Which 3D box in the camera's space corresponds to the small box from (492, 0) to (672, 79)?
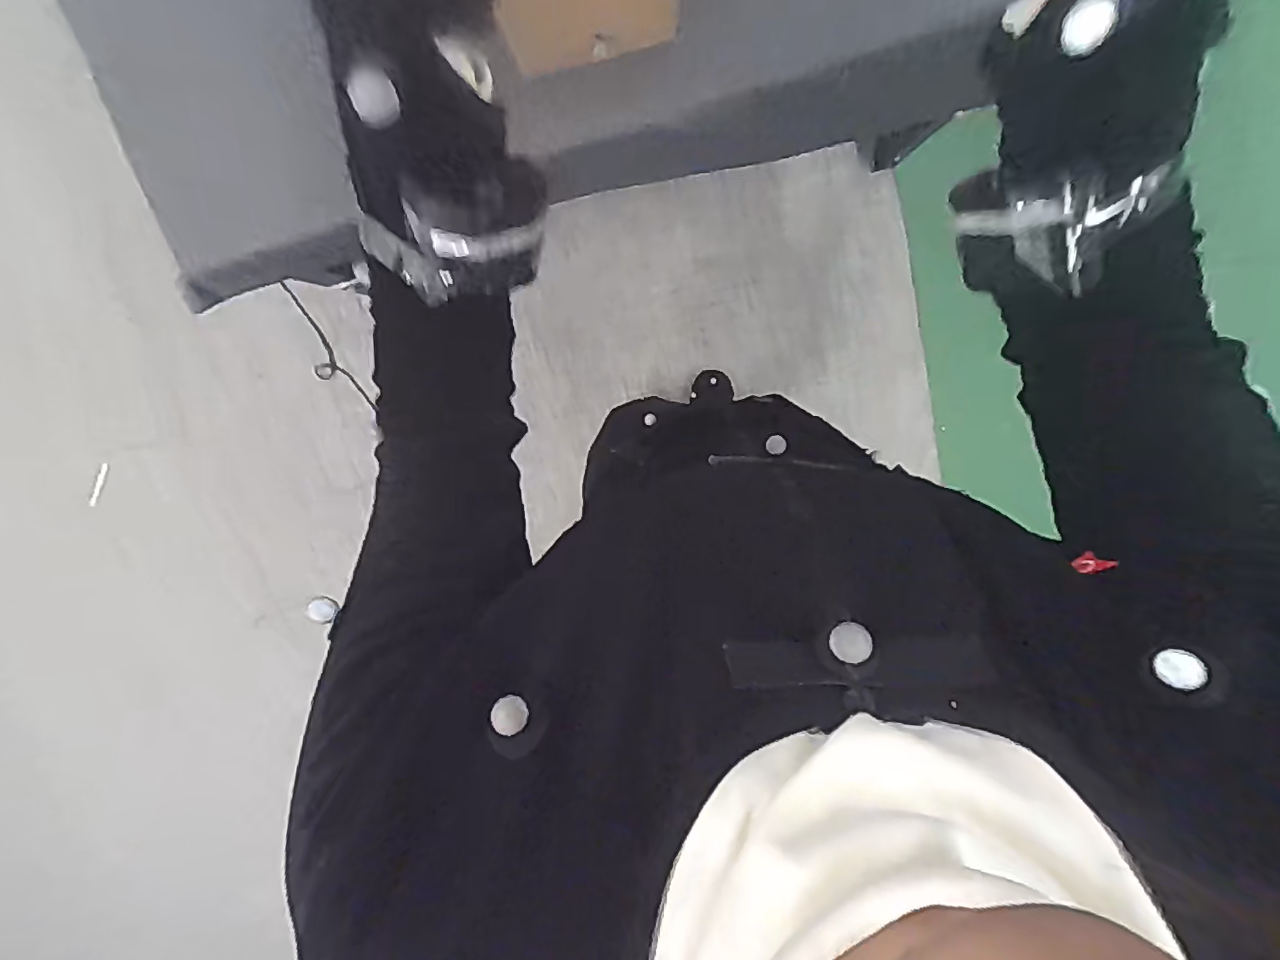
[{"bbox_3d":[-0.065,-0.532,0.517,0.179,0.176,0.168,-13,101,4],"label":"small box"}]
